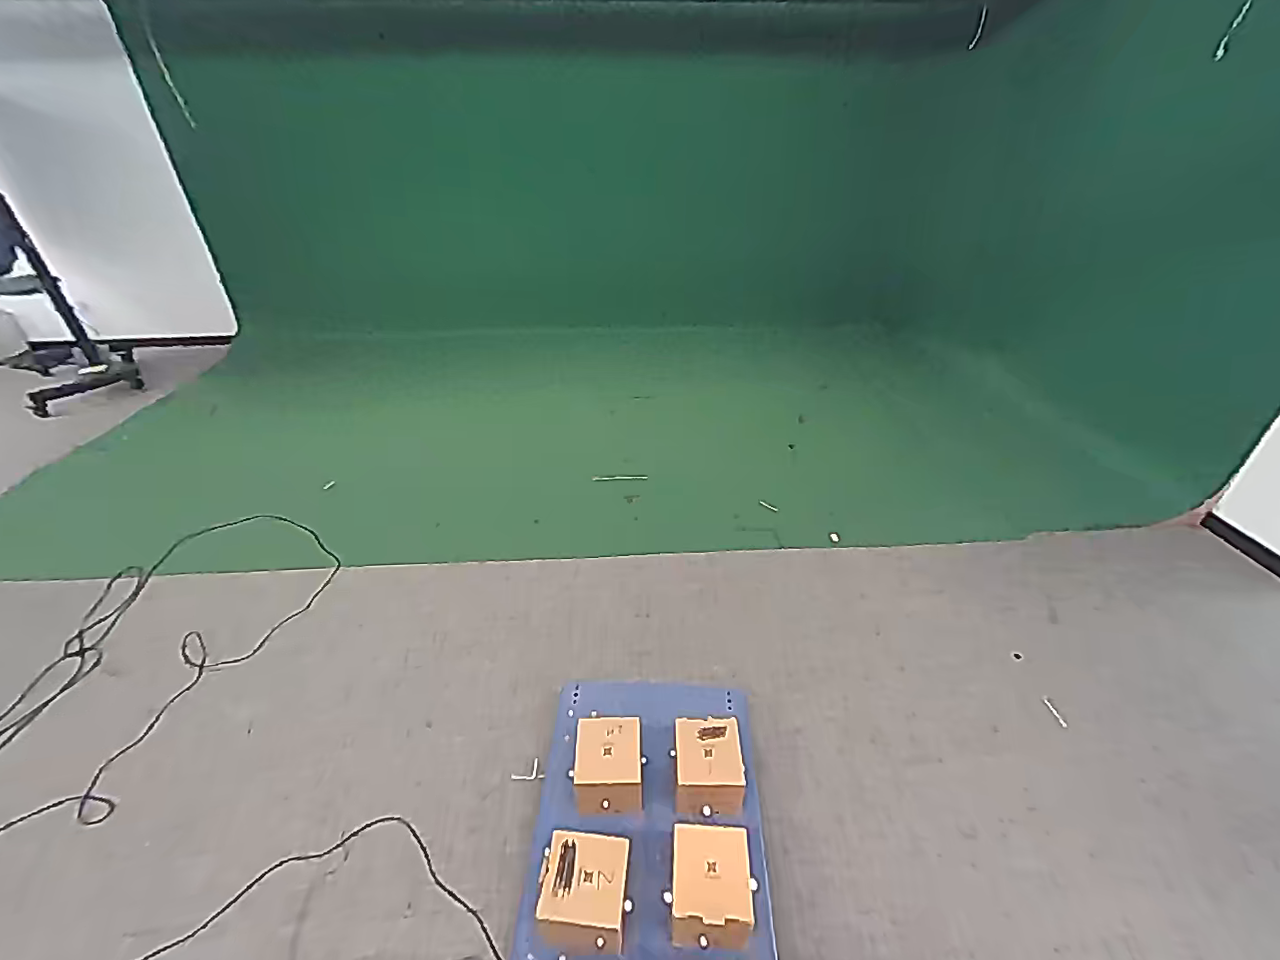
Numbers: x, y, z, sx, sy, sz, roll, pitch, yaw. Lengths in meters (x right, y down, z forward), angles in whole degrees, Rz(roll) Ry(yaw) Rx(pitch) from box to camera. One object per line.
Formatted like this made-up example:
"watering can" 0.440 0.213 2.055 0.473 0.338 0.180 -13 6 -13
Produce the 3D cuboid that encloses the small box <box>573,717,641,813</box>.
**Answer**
"small box" -0.081 0.750 1.421 0.168 0.176 0.179 0 34 -1

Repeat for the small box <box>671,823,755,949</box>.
"small box" 0.155 0.900 1.202 0.168 0.176 0.179 2 35 3

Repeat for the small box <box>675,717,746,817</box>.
"small box" 0.177 0.750 1.417 0.168 0.176 0.179 0 35 1
